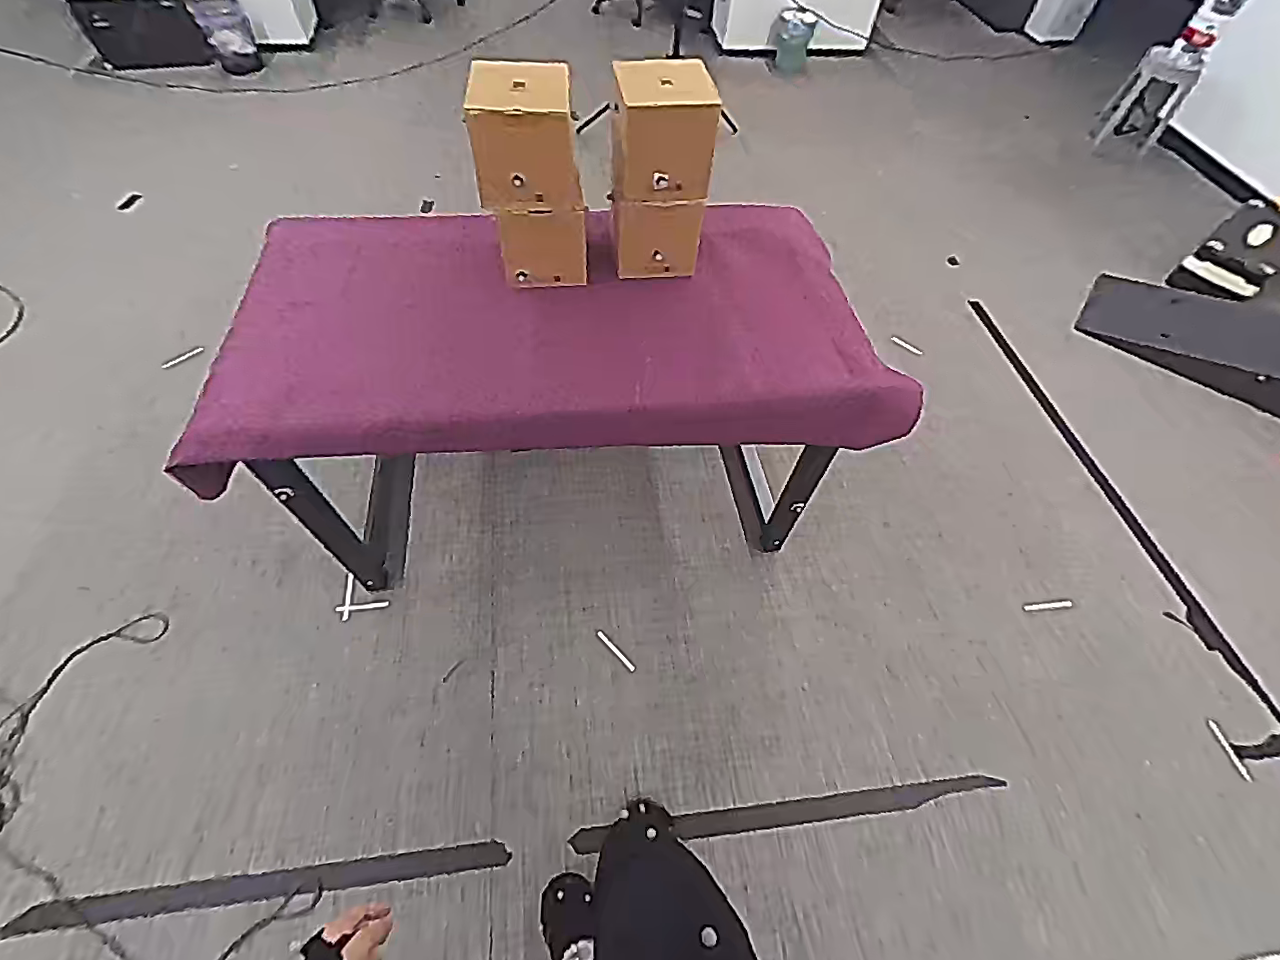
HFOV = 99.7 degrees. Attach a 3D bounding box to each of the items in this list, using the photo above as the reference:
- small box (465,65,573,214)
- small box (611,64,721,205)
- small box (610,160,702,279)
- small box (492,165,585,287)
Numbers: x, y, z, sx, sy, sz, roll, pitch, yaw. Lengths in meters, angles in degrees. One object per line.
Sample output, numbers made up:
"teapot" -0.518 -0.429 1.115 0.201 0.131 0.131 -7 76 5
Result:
"small box" -0.207 -0.604 0.967 0.168 0.176 0.179 -3 58 -6
"small box" 0.038 -0.641 1.006 0.168 0.176 0.179 -7 59 -7
"small box" 0.025 -0.548 1.139 0.168 0.176 0.179 -5 58 -6
"small box" -0.202 -0.512 1.102 0.168 0.176 0.179 -5 57 -7
